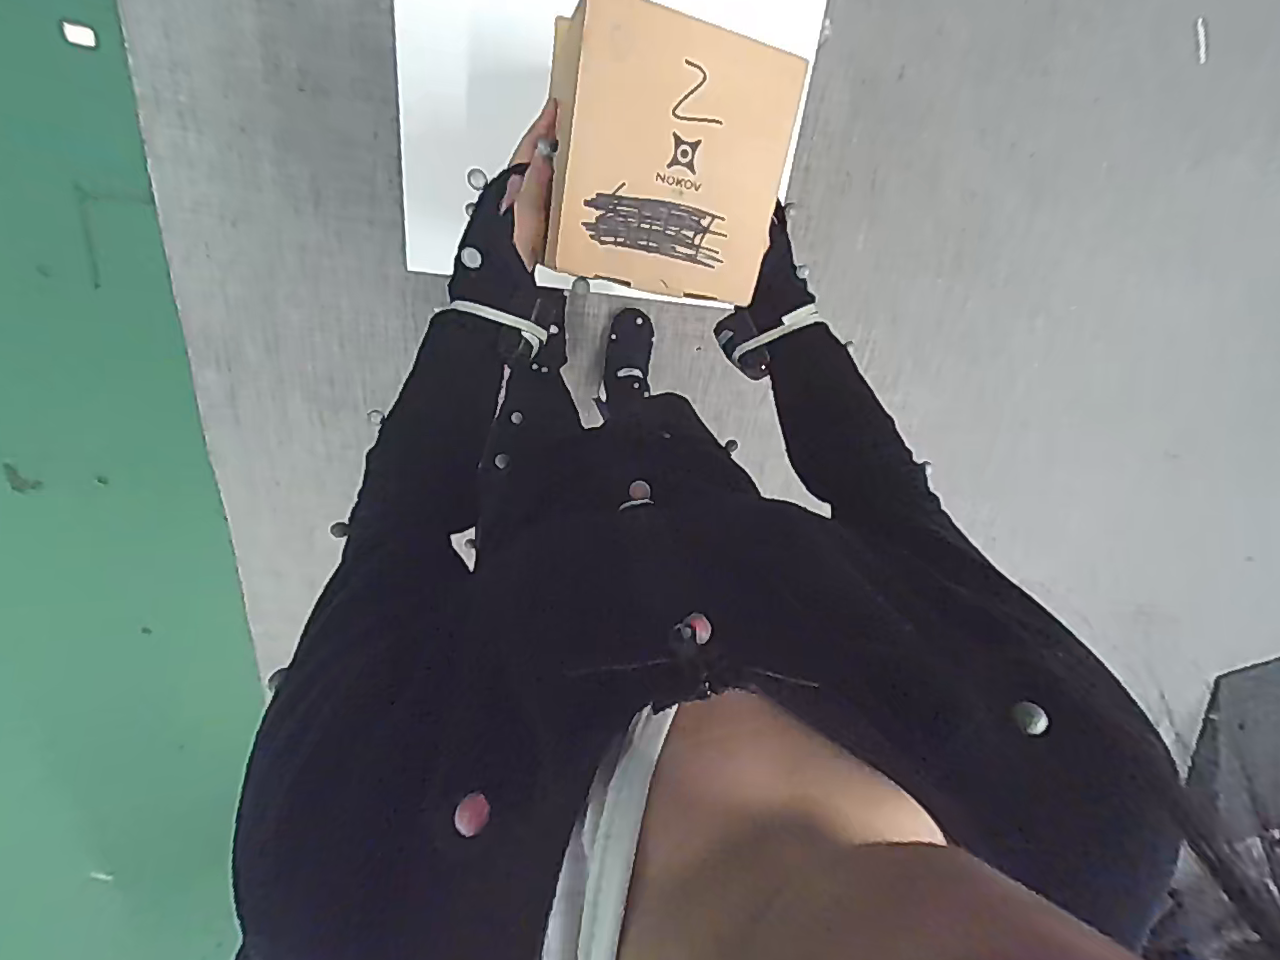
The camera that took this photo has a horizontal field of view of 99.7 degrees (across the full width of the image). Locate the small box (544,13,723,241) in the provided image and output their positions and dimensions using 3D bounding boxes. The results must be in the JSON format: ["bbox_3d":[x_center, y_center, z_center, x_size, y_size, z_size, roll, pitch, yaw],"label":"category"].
[{"bbox_3d":[-0.020,-0.386,0.627,0.168,0.176,0.179,6,114,-10],"label":"small box"}]
